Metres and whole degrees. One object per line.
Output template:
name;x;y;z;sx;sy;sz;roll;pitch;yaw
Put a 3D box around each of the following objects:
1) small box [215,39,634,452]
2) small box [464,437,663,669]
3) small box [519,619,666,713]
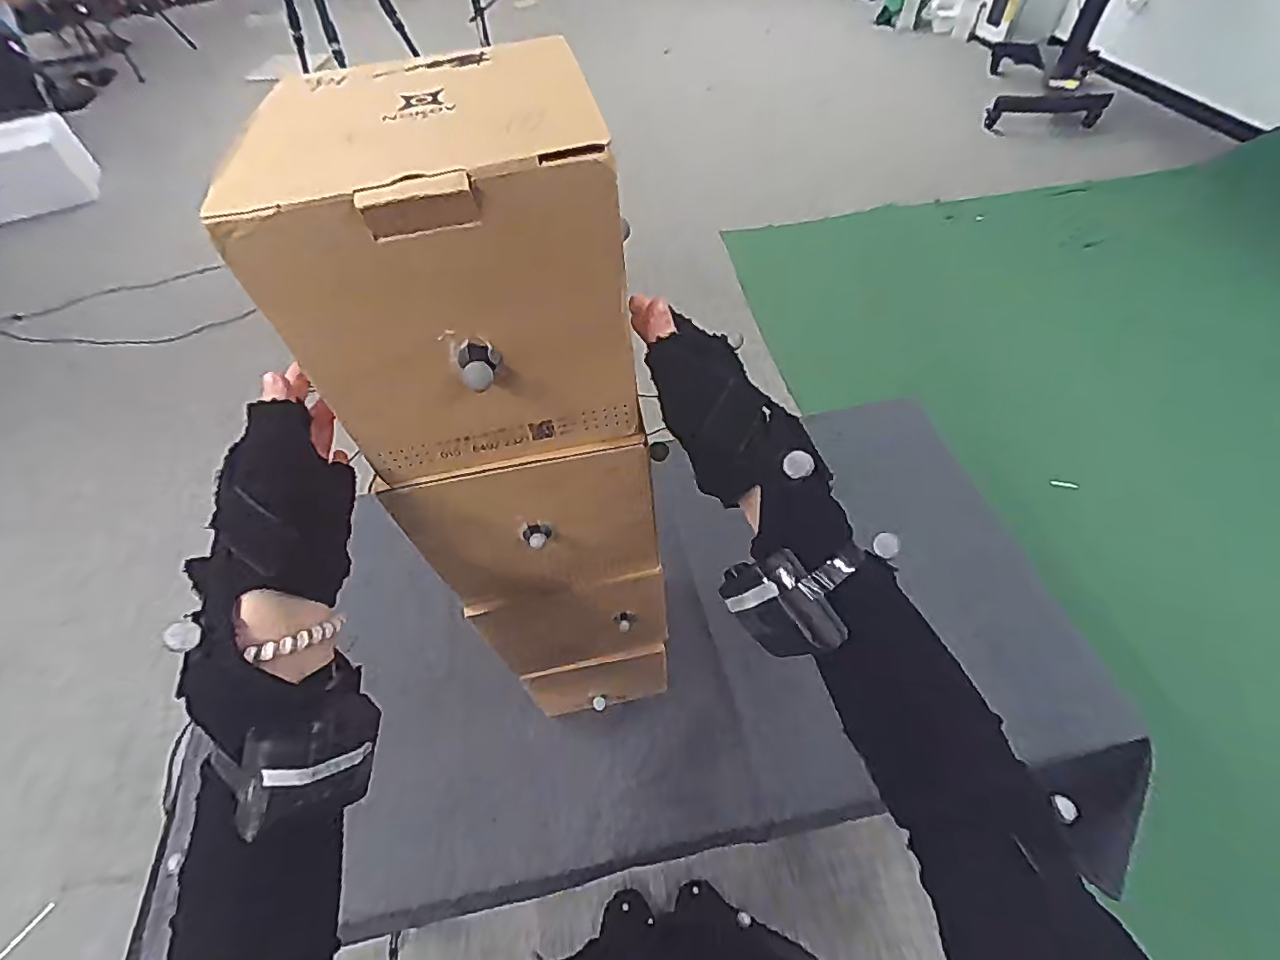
small box;-0.102;-0.134;0.334;0.168;0.176;0.179;-11;52;-4
small box;-0.077;0.082;0.579;0.179;0.176;0.168;-12;52;-5
small box;-0.062;0.182;0.707;0.168;0.176;0.179;-10;53;-3
